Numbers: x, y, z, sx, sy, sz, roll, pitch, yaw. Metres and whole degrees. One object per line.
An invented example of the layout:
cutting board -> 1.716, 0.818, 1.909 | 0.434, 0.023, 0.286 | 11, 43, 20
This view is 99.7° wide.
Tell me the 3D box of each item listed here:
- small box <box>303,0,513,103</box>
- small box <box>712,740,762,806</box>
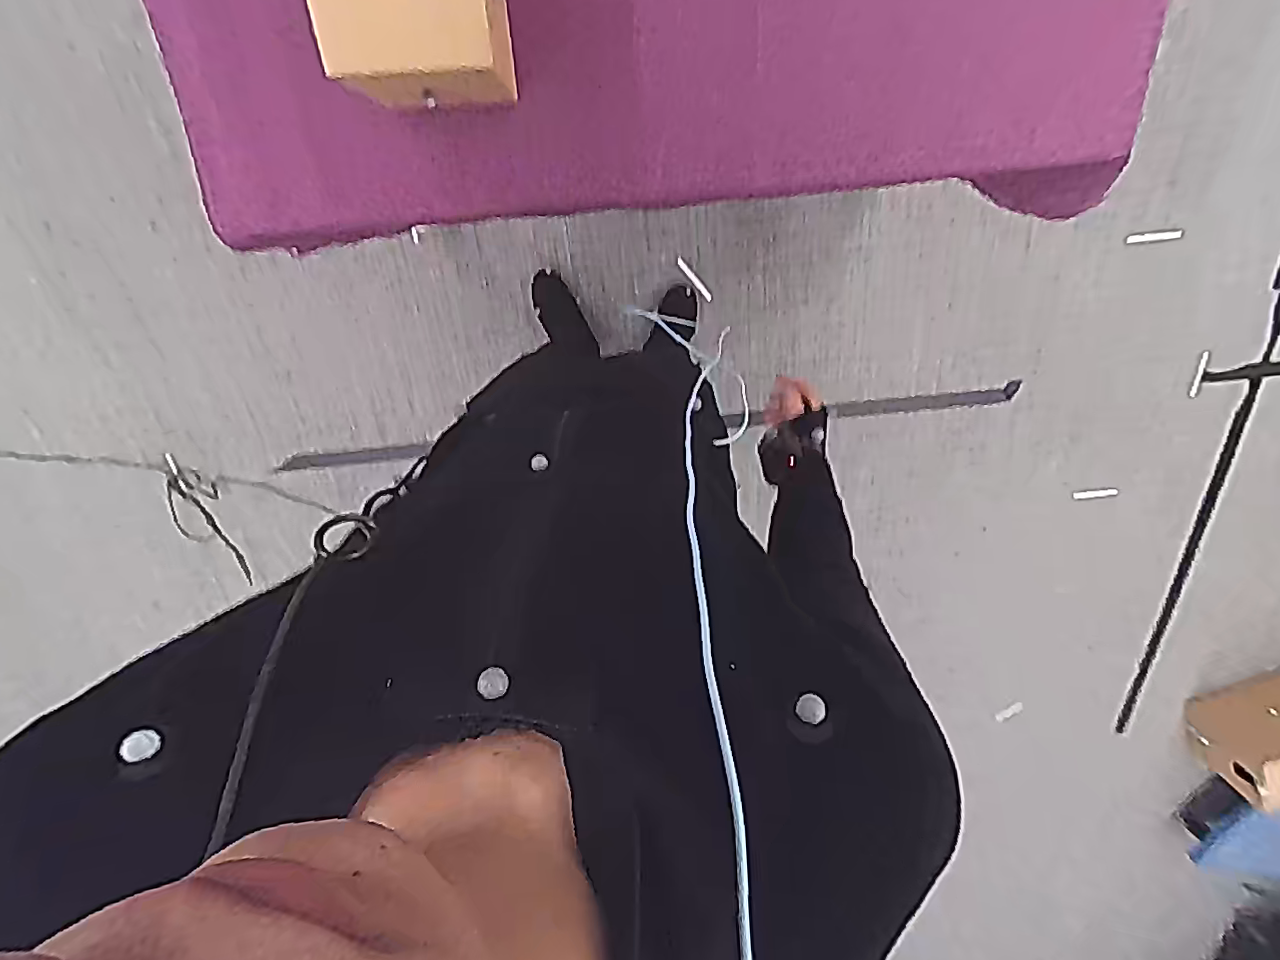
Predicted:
small box -> -0.235, -0.509, 0.562 | 0.168, 0.176, 0.179 | -4, 115, -2
small box -> 0.391, 1.186, 2.203 | 0.168, 0.176, 0.179 | -5, 116, -2
